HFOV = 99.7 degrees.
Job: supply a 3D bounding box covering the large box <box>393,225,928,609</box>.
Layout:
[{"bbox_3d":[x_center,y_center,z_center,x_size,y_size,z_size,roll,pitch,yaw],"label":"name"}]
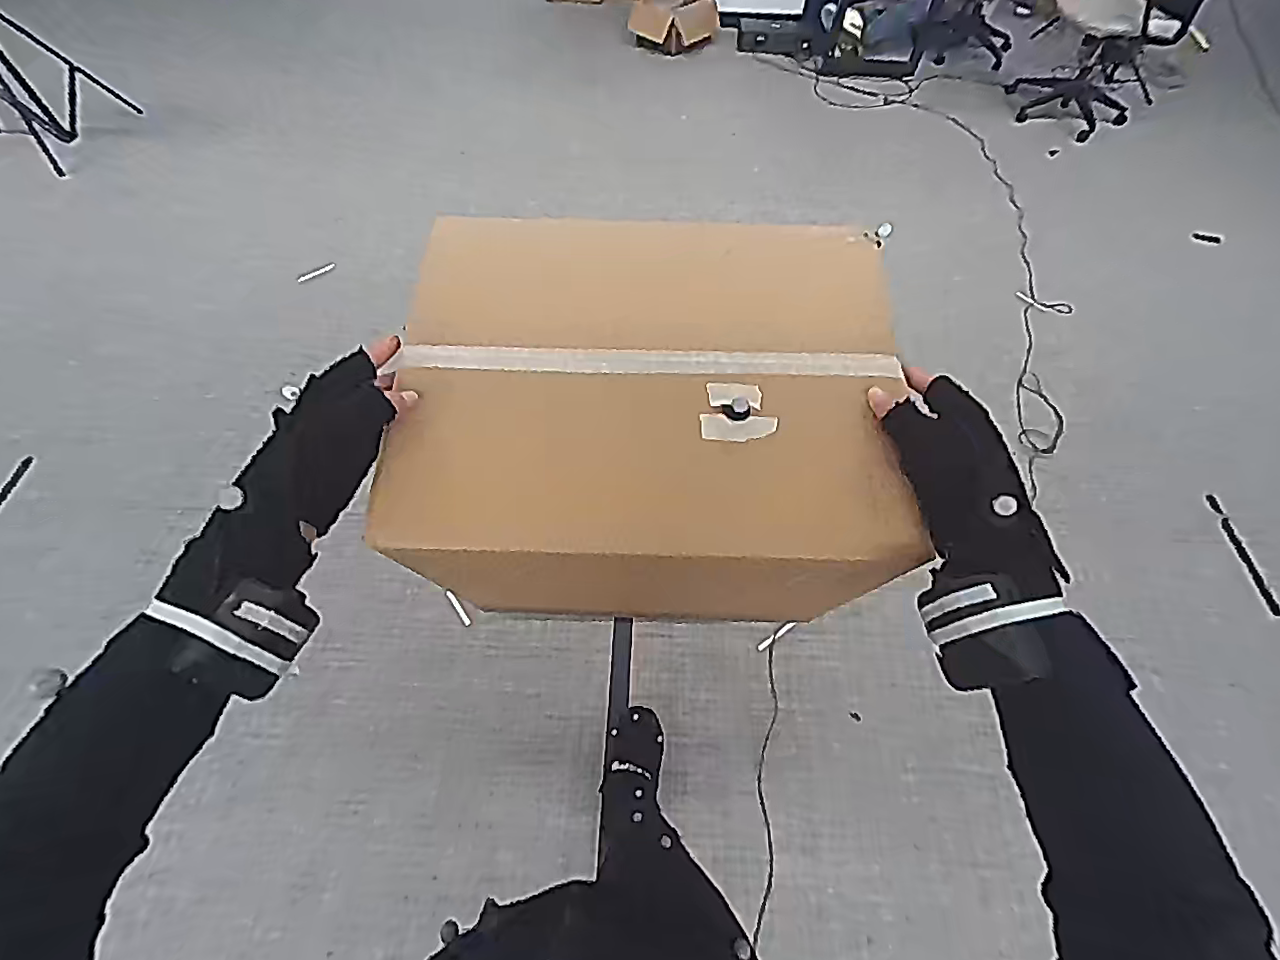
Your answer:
[{"bbox_3d":[0.014,-0.039,0.589,0.408,0.320,0.320,2,68,0],"label":"large box"}]
